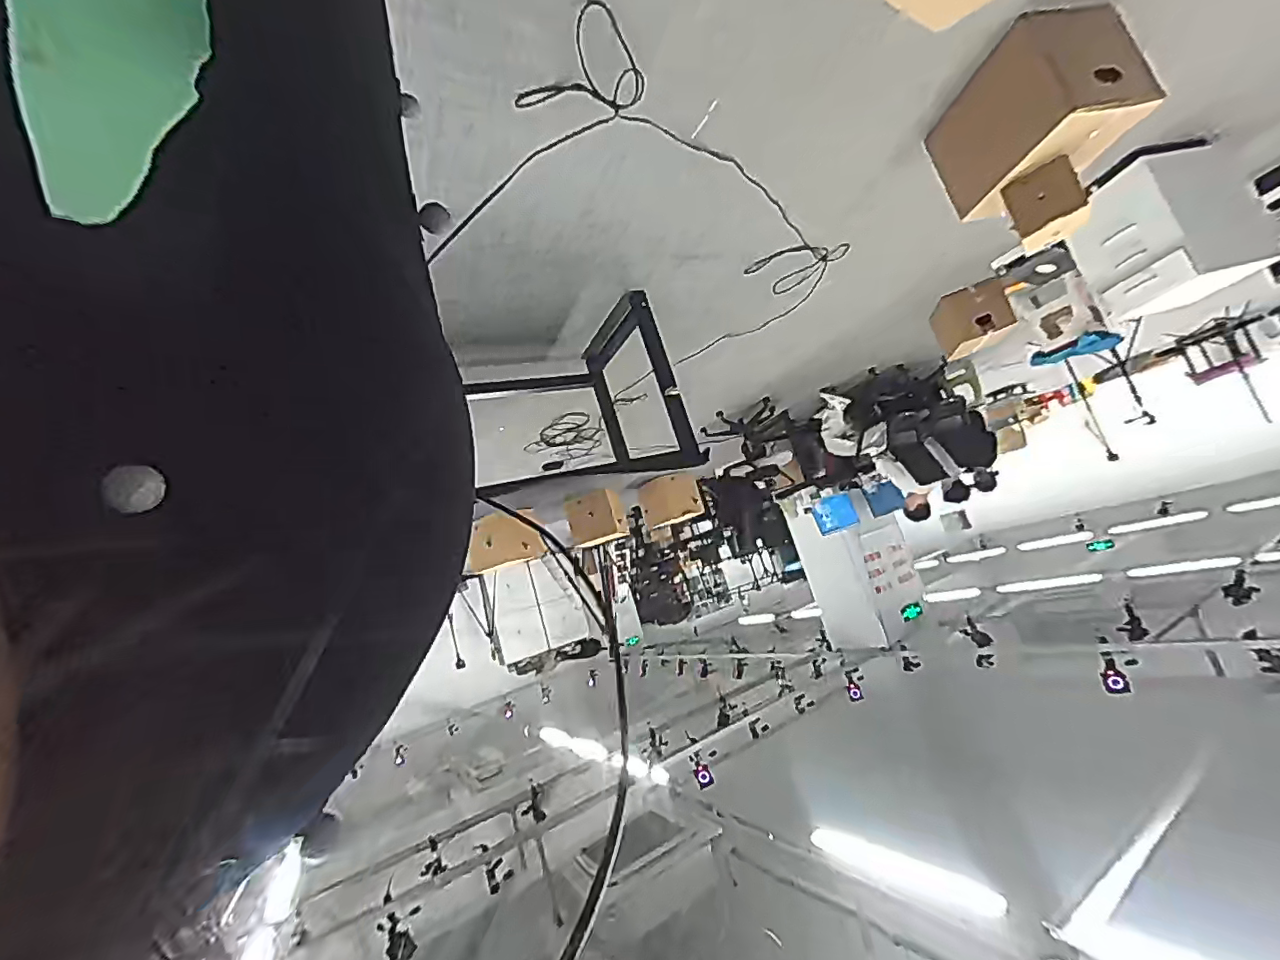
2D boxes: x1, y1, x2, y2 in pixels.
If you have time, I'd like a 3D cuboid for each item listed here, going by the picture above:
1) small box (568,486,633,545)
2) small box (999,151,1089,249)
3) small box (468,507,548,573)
[{"bbox_3d":[-0.144,0.128,1.955,0.168,0.176,0.179,-19,171,11],"label":"small box"},{"bbox_3d":[1.180,-0.819,1.581,0.168,0.176,0.179,-25,166,37],"label":"small box"},{"bbox_3d":[-0.442,0.195,1.796,0.168,0.176,0.179,-23,170,30],"label":"small box"}]
